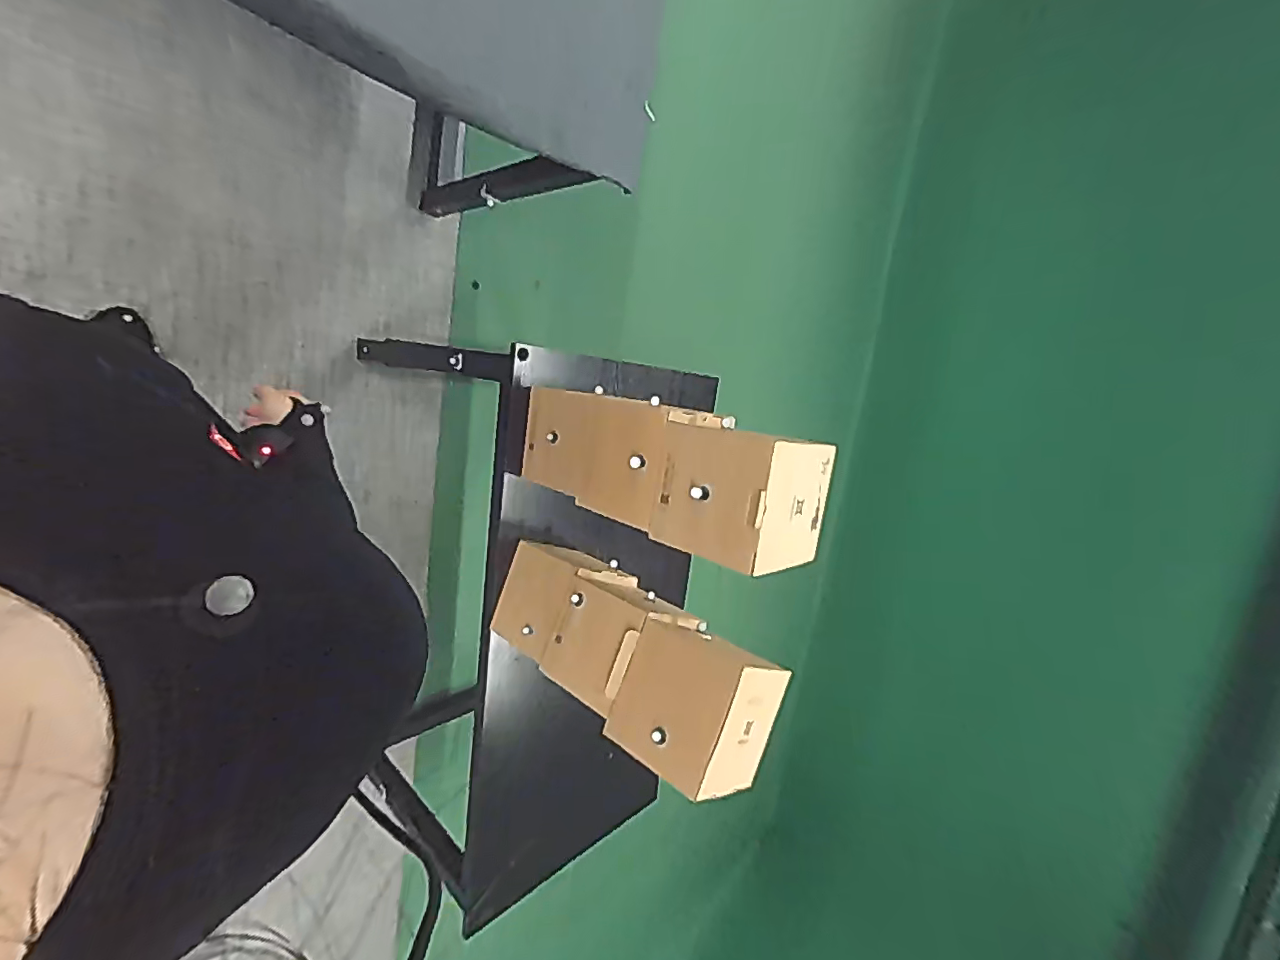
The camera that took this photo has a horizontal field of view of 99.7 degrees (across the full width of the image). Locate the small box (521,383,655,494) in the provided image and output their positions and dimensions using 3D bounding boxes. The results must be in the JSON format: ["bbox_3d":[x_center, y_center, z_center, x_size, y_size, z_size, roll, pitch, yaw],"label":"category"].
[{"bbox_3d":[-0.089,-0.075,0.958,0.179,0.176,0.168,-3,106,-48],"label":"small box"}]

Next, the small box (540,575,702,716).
[{"bbox_3d":[-0.034,0.266,0.886,0.179,0.176,0.168,25,85,-50],"label":"small box"}]

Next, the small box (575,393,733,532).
[{"bbox_3d":[0.016,-0.032,0.842,0.168,0.176,0.179,-2,105,-47],"label":"small box"}]

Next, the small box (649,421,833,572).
[{"bbox_3d":[0.133,0.014,0.735,0.179,0.176,0.168,0,103,-47],"label":"small box"}]

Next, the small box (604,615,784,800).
[{"bbox_3d":[0.074,0.315,0.774,0.168,0.176,0.179,28,82,-50],"label":"small box"}]
